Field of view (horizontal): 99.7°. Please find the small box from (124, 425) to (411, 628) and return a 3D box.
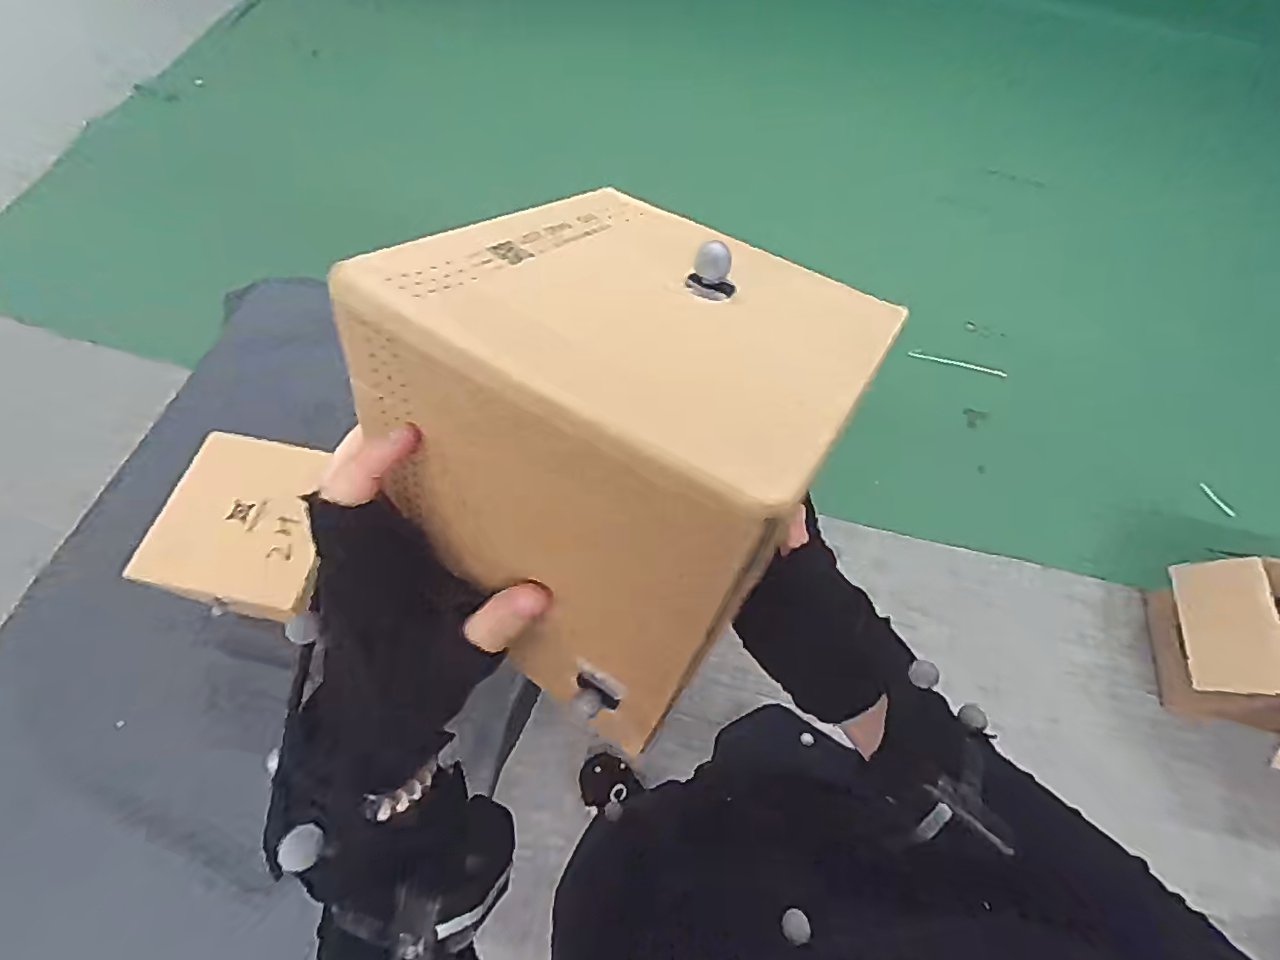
[{"bbox_3d":[-0.399,0.062,0.619,0.179,0.176,0.168,12,65,3],"label":"small box"}]
